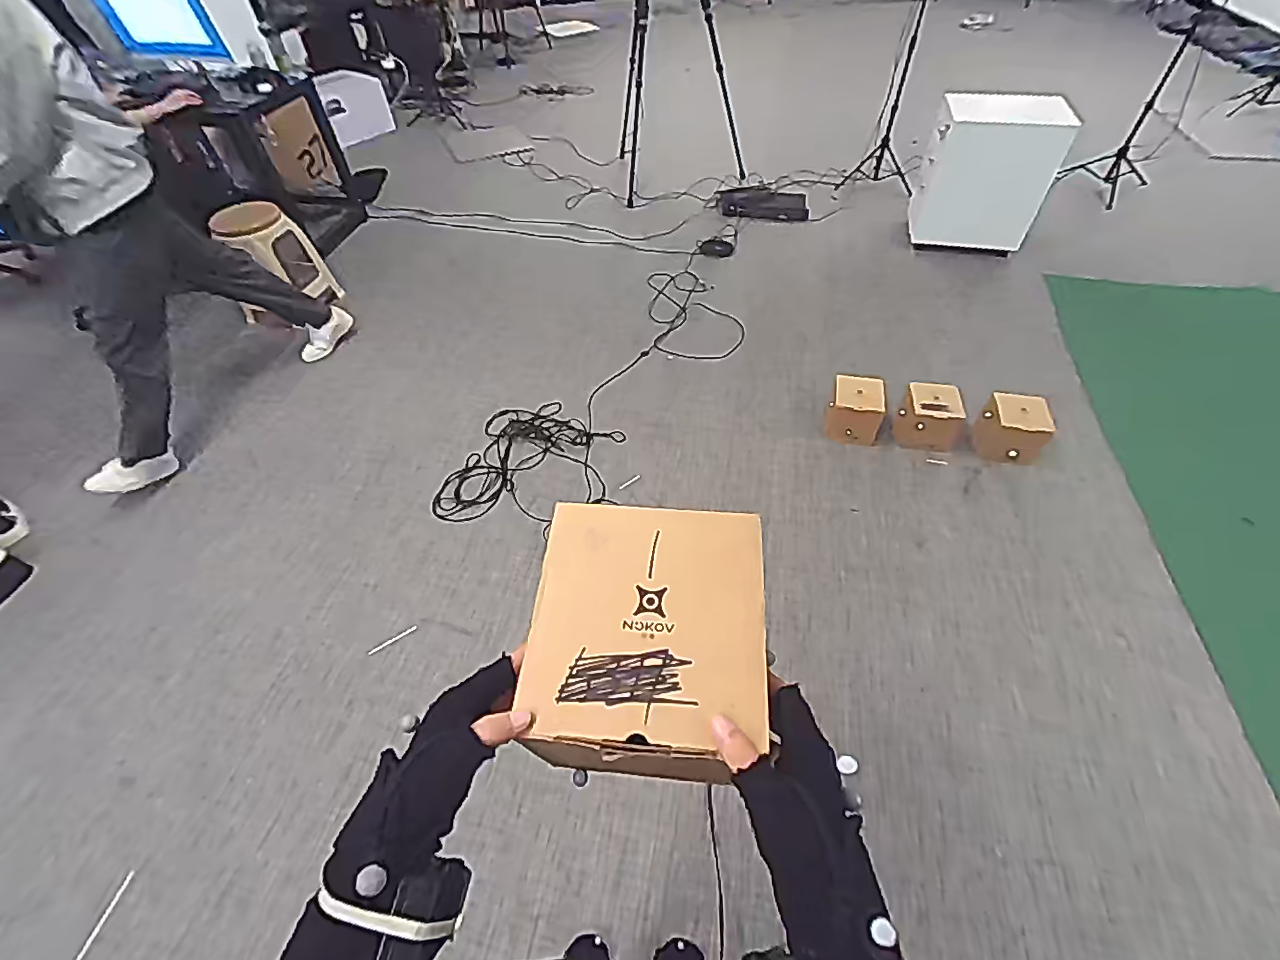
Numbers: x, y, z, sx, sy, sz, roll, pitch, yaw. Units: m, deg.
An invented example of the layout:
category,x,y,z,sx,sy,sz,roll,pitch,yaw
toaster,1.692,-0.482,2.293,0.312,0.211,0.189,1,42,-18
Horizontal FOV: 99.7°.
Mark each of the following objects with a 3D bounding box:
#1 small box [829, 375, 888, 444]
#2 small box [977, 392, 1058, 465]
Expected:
category,x,y,z,sx,sy,sz,roll,pitch,yaw
small box,0.799,-0.260,1.990,0.168,0.176,0.179,9,52,11
small box,1.315,-0.180,1.898,0.168,0.176,0.179,9,52,11
